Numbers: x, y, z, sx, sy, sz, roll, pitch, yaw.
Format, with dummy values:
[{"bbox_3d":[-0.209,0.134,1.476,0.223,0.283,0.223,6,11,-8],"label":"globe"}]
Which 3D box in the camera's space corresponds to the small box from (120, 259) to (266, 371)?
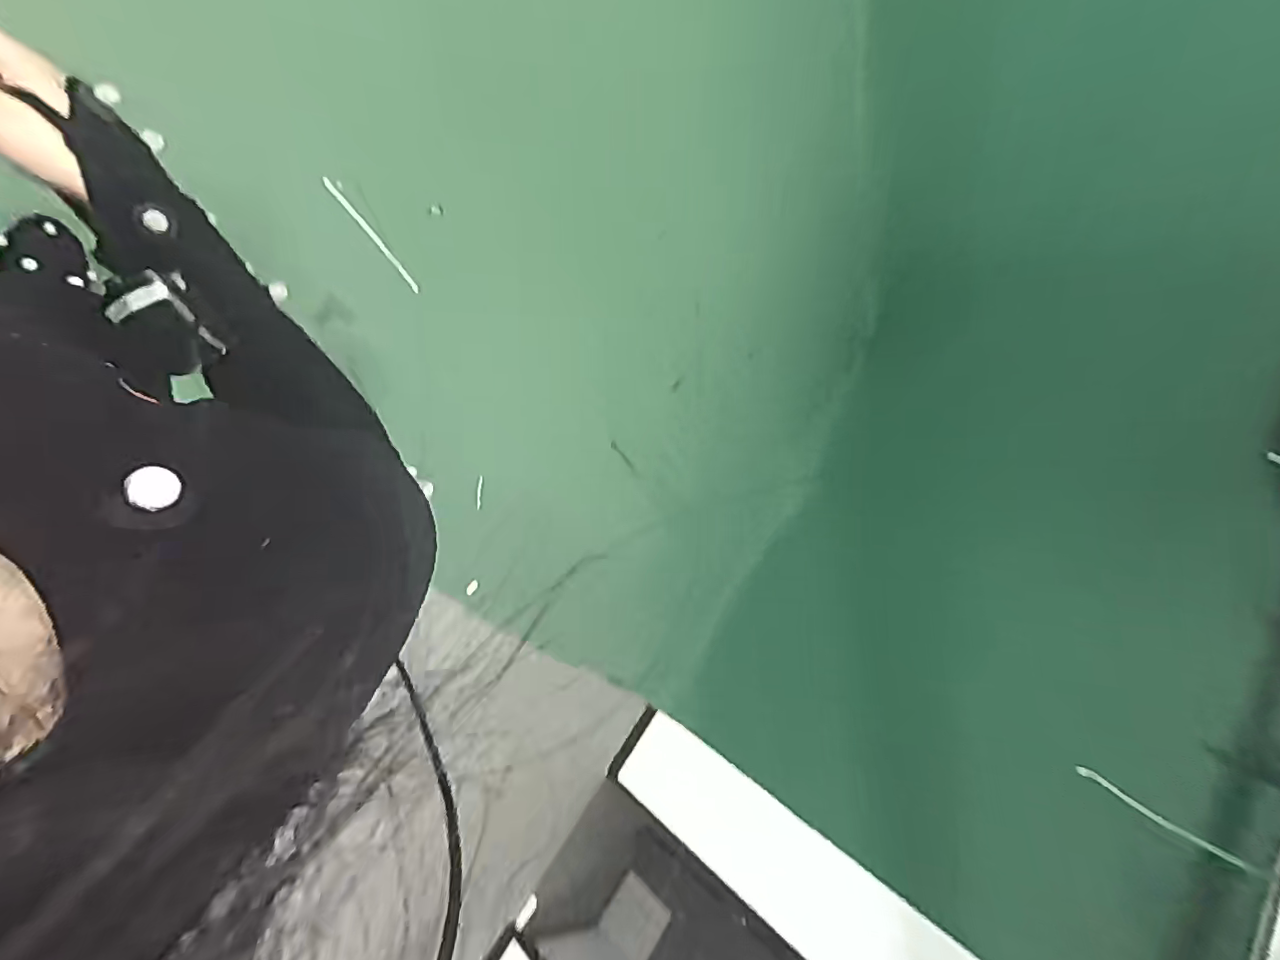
[{"bbox_3d":[-0.885,-0.333,1.075,0.168,0.176,0.179,-27,129,-41],"label":"small box"}]
